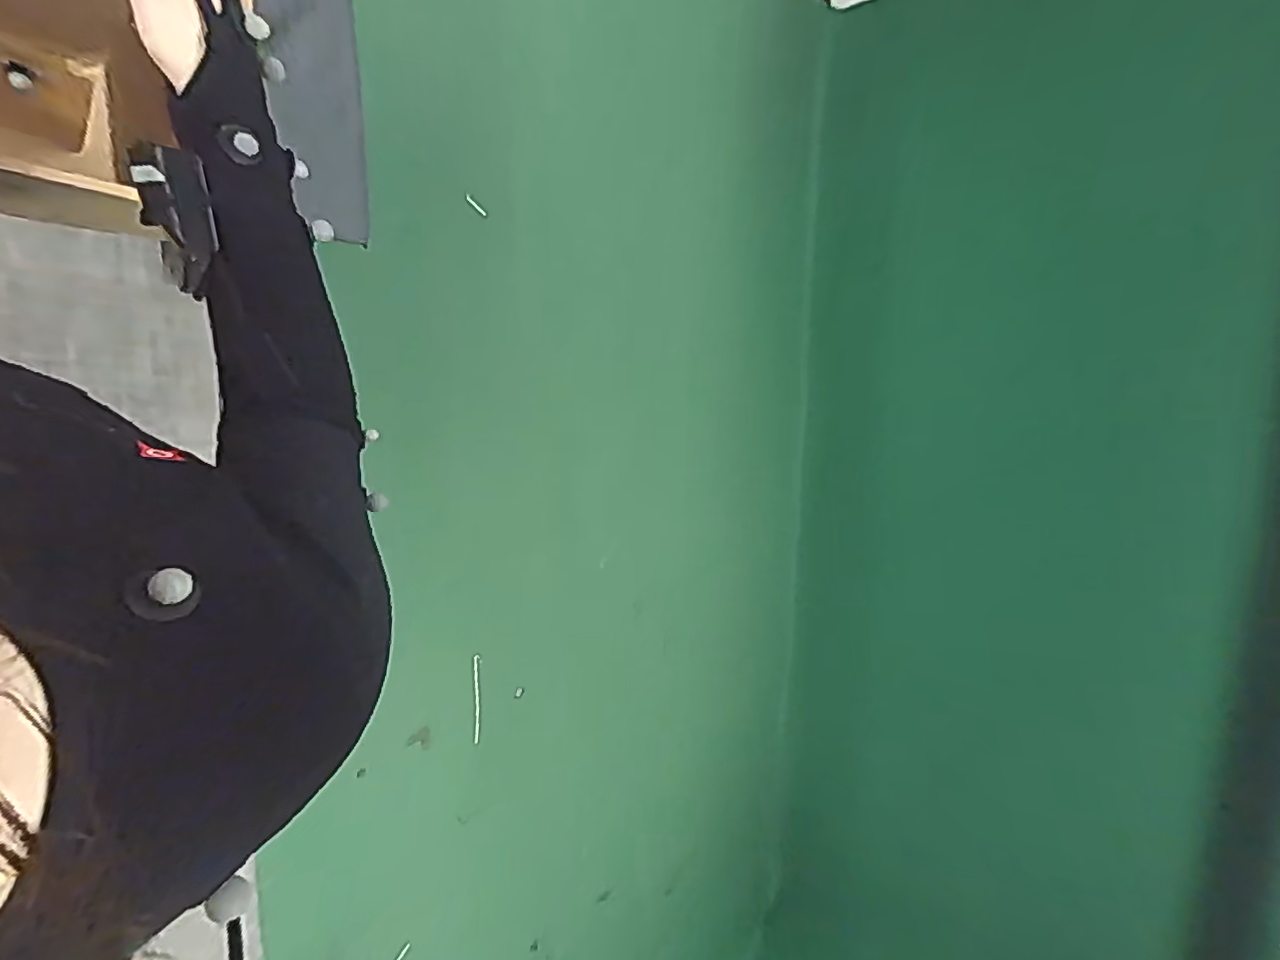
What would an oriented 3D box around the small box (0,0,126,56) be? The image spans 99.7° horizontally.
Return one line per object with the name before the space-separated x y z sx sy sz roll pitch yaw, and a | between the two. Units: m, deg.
small box | -0.397 -0.377 0.287 0.179 0.176 0.168 -10 103 -55
